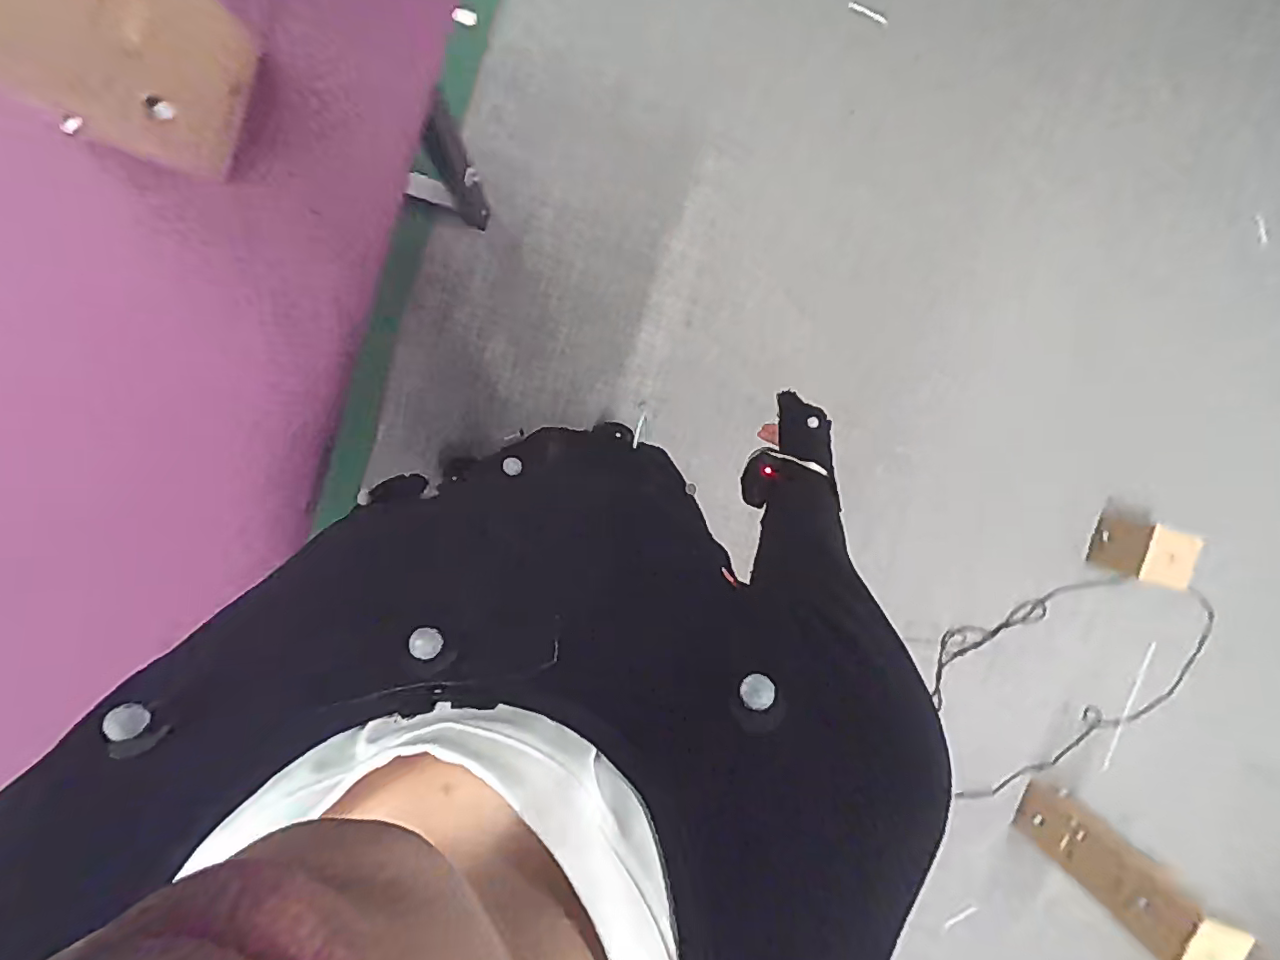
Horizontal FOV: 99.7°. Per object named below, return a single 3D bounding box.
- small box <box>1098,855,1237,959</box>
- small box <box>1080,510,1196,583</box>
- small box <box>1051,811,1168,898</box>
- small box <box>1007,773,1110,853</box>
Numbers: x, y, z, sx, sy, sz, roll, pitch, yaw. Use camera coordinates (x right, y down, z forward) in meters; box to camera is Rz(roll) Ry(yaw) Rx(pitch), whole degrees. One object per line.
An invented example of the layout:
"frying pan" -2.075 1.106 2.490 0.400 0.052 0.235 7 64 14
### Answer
"small box" 1.397 1.151 1.443 0.179 0.176 0.168 24 94 -10
"small box" 1.529 0.200 1.669 0.179 0.176 0.168 15 95 -9
"small box" 1.380 1.121 1.602 0.179 0.176 0.168 19 95 -11
"small box" 1.355 1.093 1.765 0.179 0.176 0.168 16 98 -8
